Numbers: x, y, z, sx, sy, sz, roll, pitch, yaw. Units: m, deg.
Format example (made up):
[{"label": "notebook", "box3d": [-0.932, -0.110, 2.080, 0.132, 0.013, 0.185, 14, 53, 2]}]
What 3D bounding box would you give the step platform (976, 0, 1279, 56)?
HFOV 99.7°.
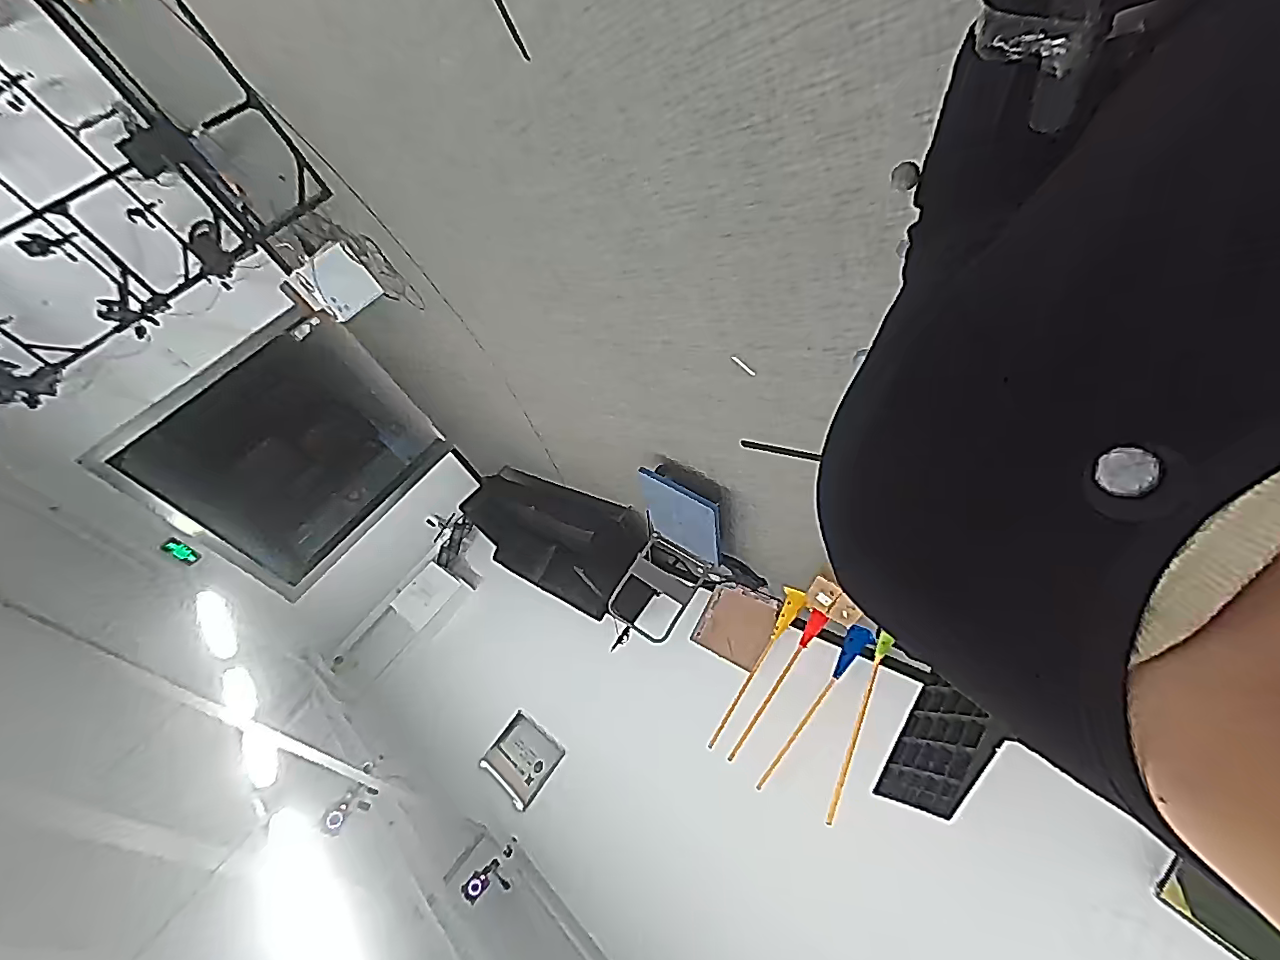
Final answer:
[{"label": "step platform", "box3d": [0.864, -0.844, 0.747, 0.684, 0.204, 0.286, 22, 152, 40]}]
